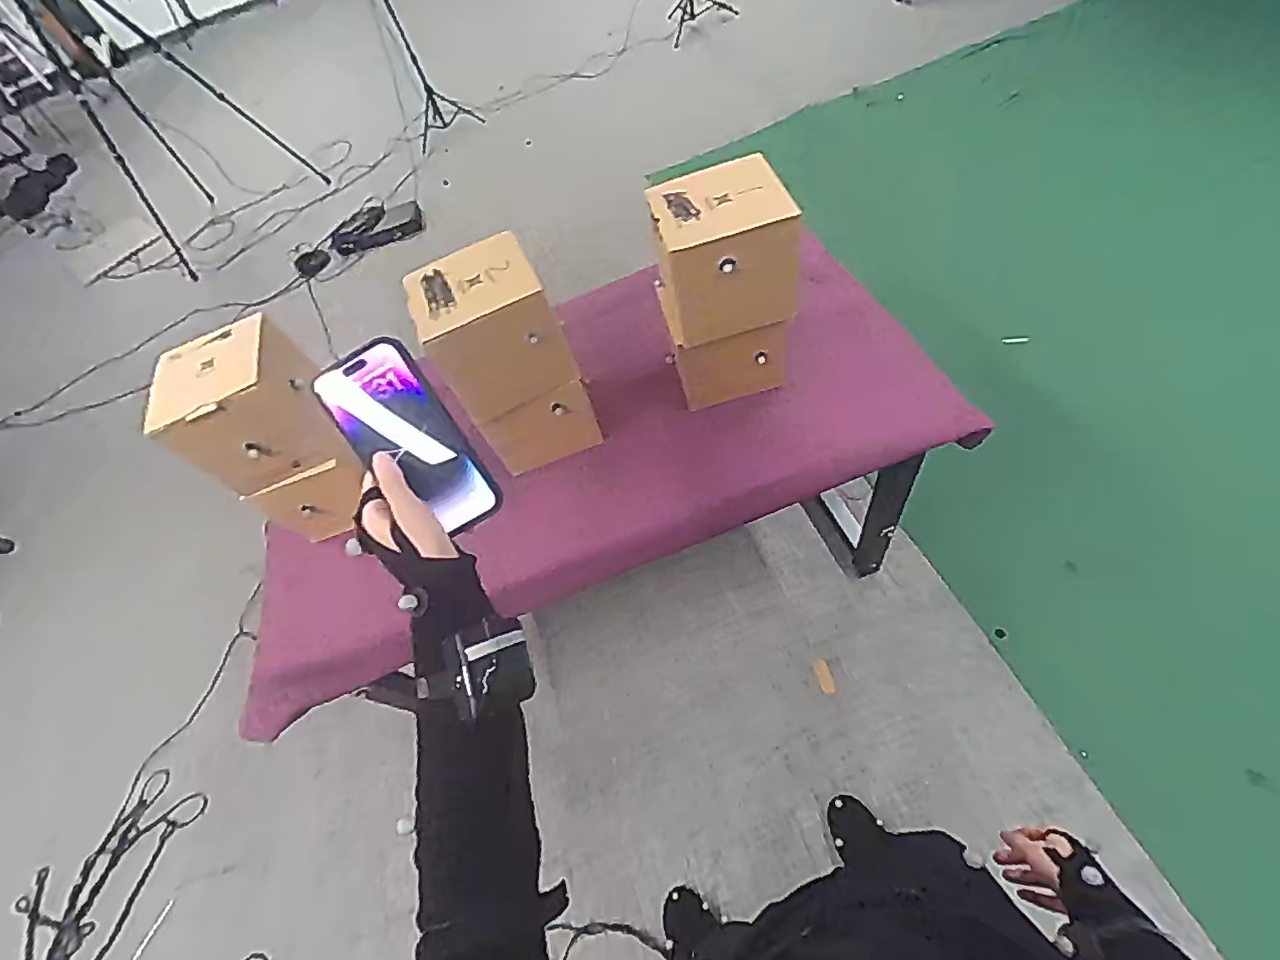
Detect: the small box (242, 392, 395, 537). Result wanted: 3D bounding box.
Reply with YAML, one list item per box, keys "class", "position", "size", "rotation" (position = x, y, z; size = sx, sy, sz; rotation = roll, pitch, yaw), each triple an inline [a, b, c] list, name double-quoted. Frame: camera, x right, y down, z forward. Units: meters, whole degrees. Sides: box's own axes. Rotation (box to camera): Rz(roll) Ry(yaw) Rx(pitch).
- class: "small box"
  position: [-0.556, -0.017, 0.959]
  size: [0.168, 0.176, 0.179]
  rotation: [-21, 55, 1]

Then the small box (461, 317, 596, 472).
- class: "small box"
  position: [-0.186, -0.144, 0.941]
  size: [0.179, 0.176, 0.168]
  rotation: [-21, 55, 1]

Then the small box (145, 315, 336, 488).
- class: "small box"
  position: [-0.594, -0.110, 0.828]
  size: [0.168, 0.176, 0.179]
  rotation: [-25, 56, -2]

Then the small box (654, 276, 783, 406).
- class: "small box"
  position: [0.136, -0.256, 0.929]
  size: [0.179, 0.176, 0.168]
  rotation: [-16, 55, 5]

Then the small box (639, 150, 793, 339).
- class: "small box"
  position: [0.113, -0.333, 0.786]
  size: [0.179, 0.176, 0.168]
  rotation: [-16, 55, 4]
